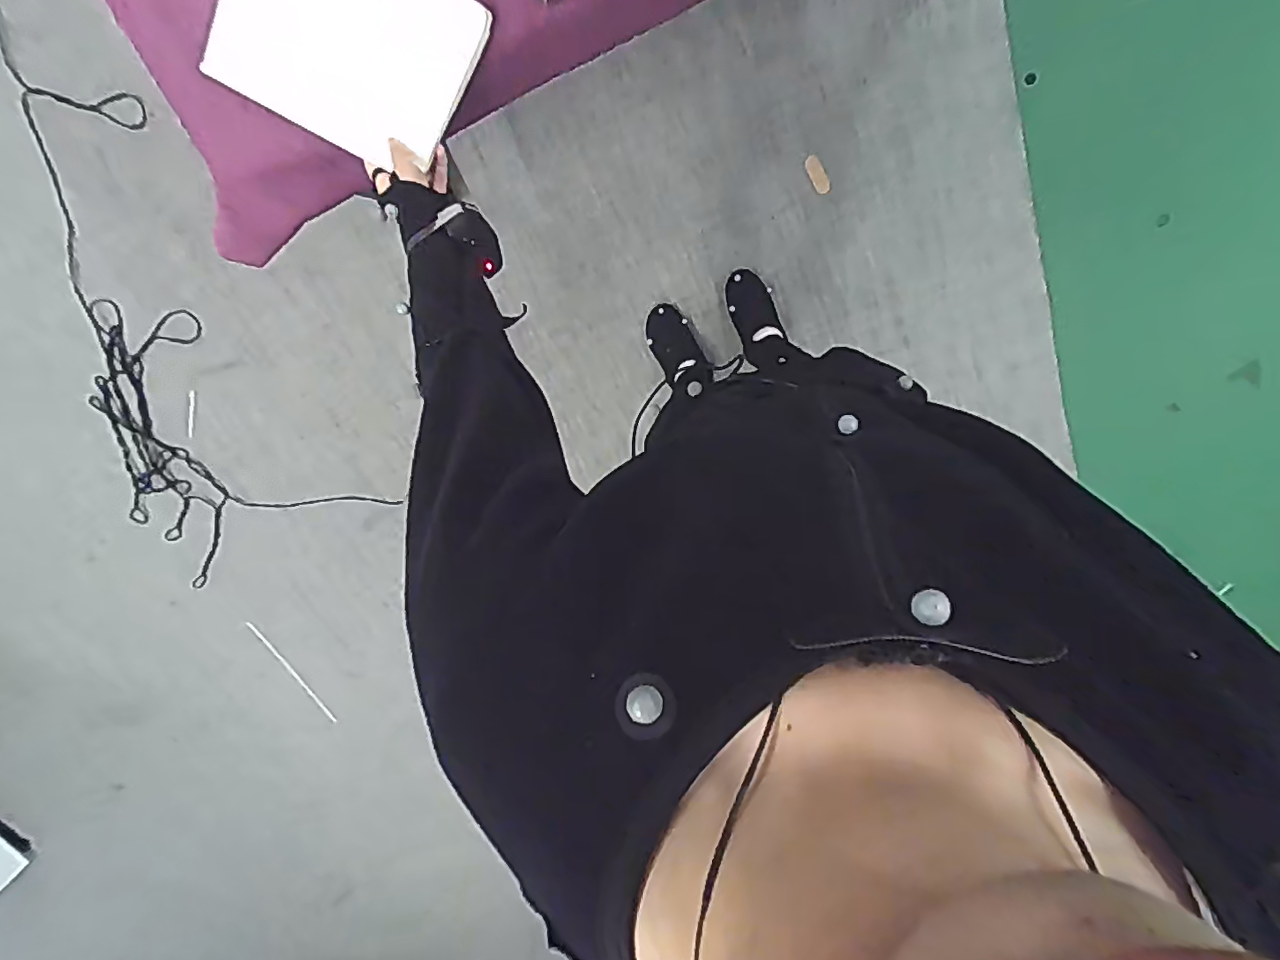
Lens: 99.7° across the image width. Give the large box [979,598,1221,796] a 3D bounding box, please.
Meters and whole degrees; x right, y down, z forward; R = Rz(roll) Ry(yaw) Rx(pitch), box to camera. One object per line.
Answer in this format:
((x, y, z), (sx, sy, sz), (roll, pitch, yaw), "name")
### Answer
((1.343, 0.637, 1.618), (0.408, 0.320, 0.320), (-36, 107, 12), "large box")
